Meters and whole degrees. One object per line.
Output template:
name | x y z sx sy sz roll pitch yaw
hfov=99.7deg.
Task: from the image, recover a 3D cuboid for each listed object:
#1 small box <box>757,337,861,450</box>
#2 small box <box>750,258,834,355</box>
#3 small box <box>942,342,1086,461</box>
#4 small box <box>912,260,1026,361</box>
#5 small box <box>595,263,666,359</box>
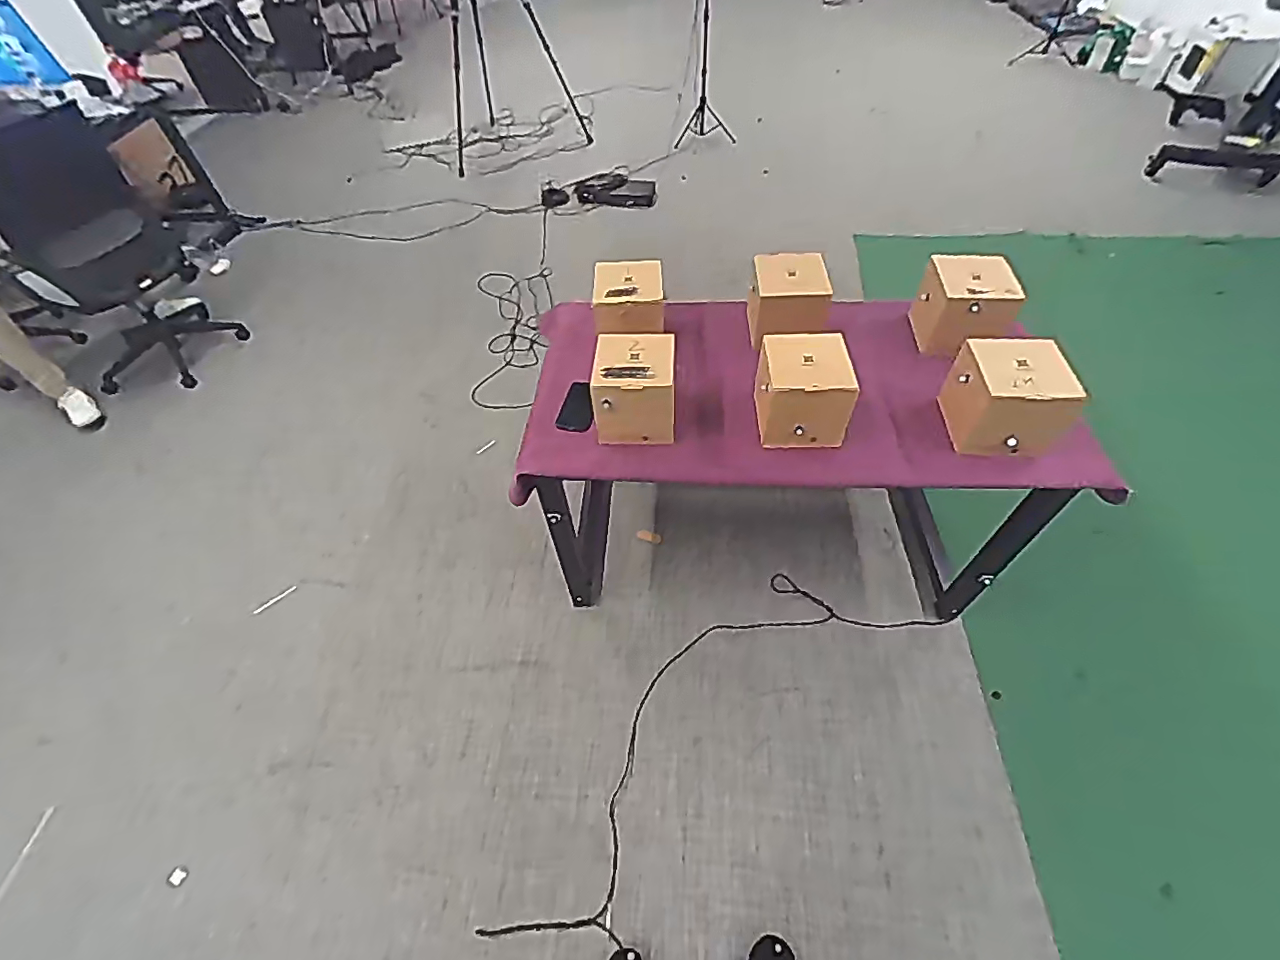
small box | 0.347 -0.183 1.151 0.168 0.176 0.179 0 51 3
small box | 0.369 -0.432 1.348 0.168 0.176 0.179 0 52 5
small box | 0.744 -0.160 1.103 0.168 0.176 0.179 2 52 7
small box | 0.777 -0.406 1.302 0.168 0.176 0.179 3 51 7
small box | -0.019 -0.419 1.358 0.168 0.176 0.179 -1 51 2
